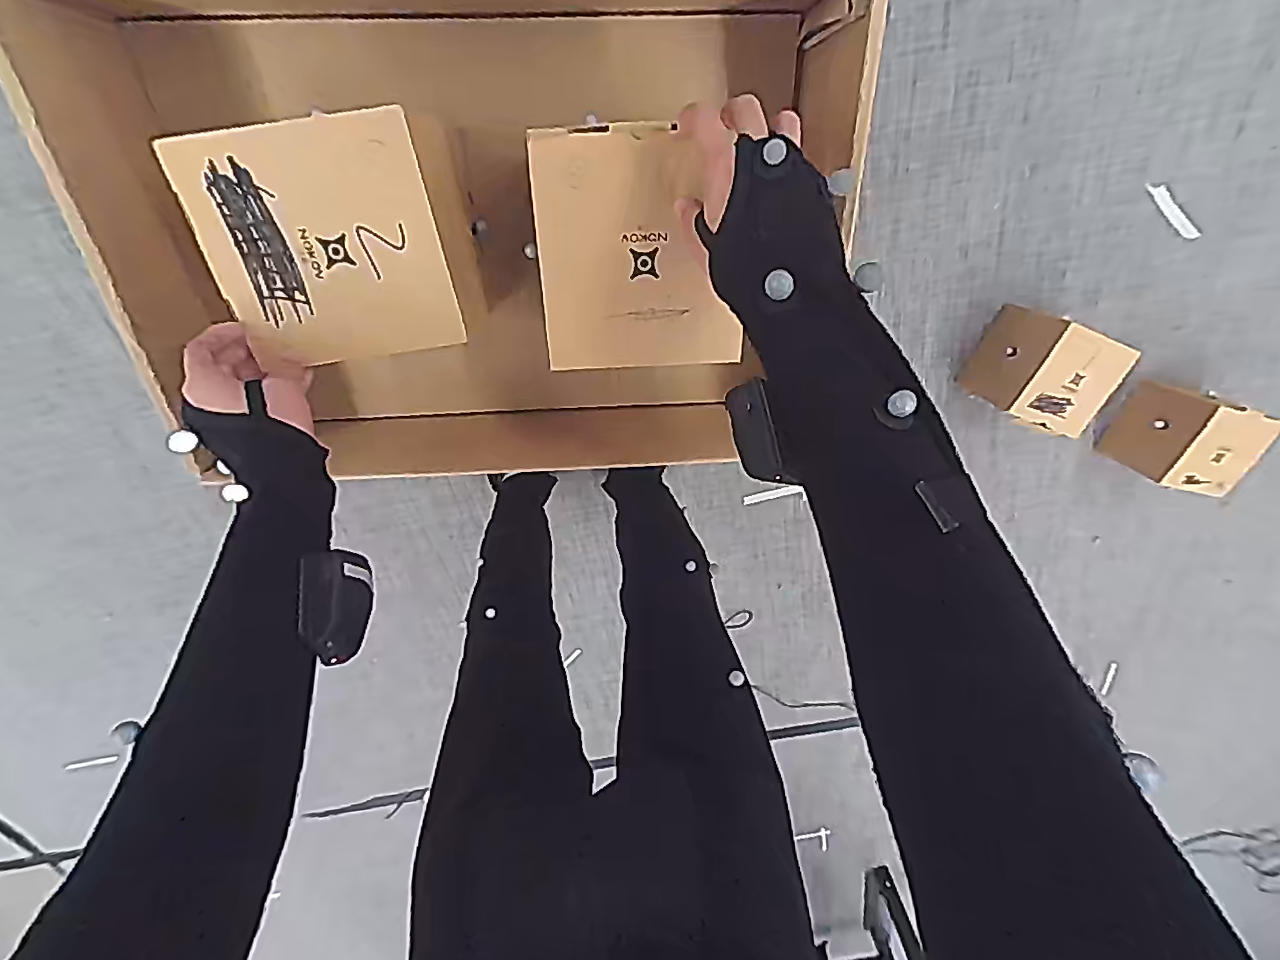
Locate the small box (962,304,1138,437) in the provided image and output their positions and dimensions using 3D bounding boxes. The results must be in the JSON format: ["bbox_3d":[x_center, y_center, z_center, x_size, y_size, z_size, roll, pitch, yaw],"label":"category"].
[{"bbox_3d":[0.759,-0.212,1.030,0.168,0.176,0.179,17,116,-13],"label":"small box"}]

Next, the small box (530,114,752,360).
[{"bbox_3d":[-0.002,-0.217,0.496,0.168,0.176,0.179,-3,117,-2],"label":"small box"}]

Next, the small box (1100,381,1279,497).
[{"bbox_3d":[1.124,-0.090,1.122,0.168,0.176,0.179,11,116,-9],"label":"small box"}]
